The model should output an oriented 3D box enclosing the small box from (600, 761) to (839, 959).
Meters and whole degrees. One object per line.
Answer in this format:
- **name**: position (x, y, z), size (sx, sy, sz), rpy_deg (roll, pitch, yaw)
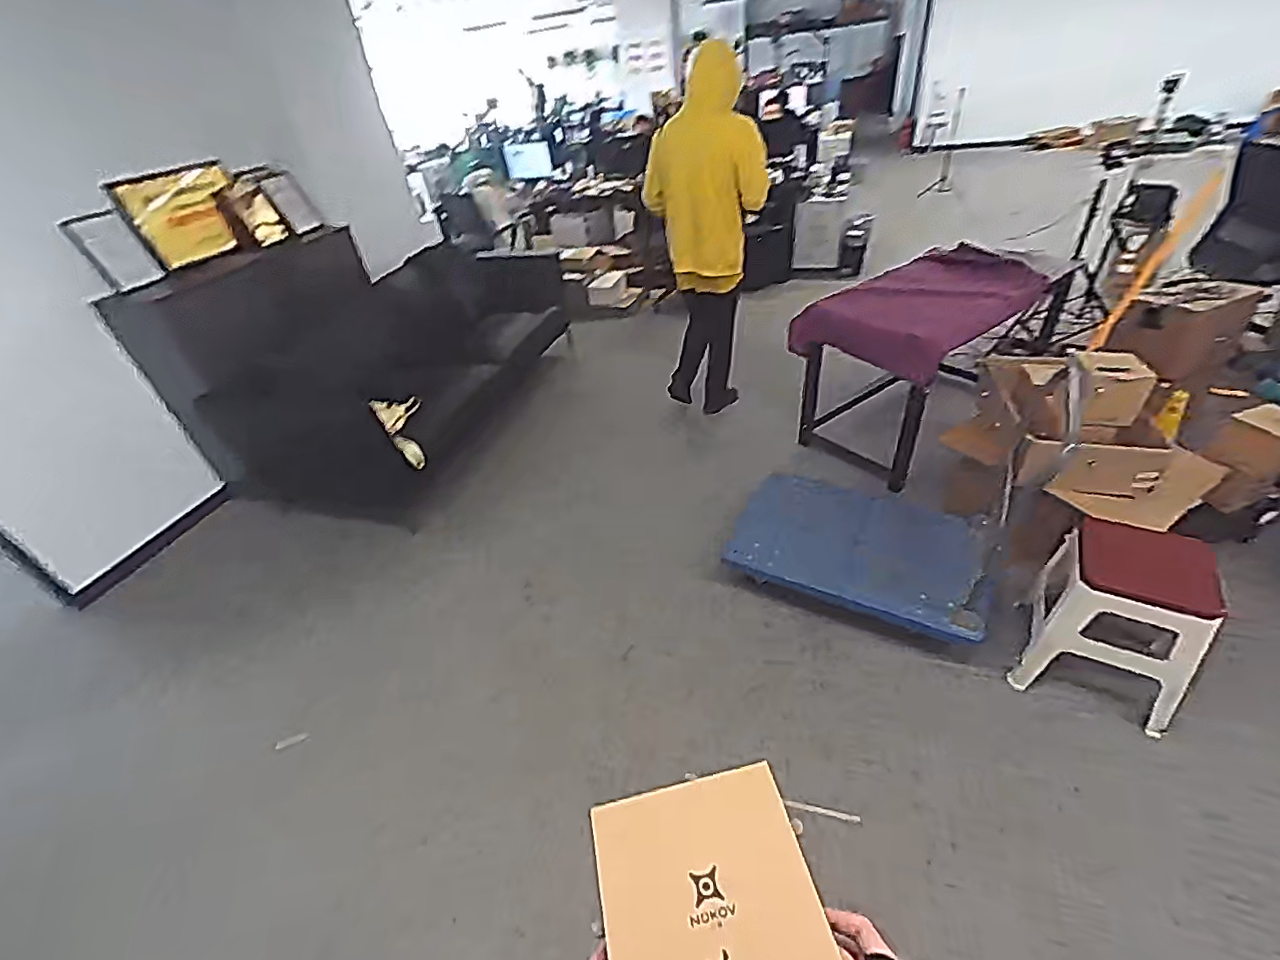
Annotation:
- **small box**: position (0.064, 0.388, 0.480), size (0.168, 0.176, 0.179), rpy_deg (-12, 39, -3)
